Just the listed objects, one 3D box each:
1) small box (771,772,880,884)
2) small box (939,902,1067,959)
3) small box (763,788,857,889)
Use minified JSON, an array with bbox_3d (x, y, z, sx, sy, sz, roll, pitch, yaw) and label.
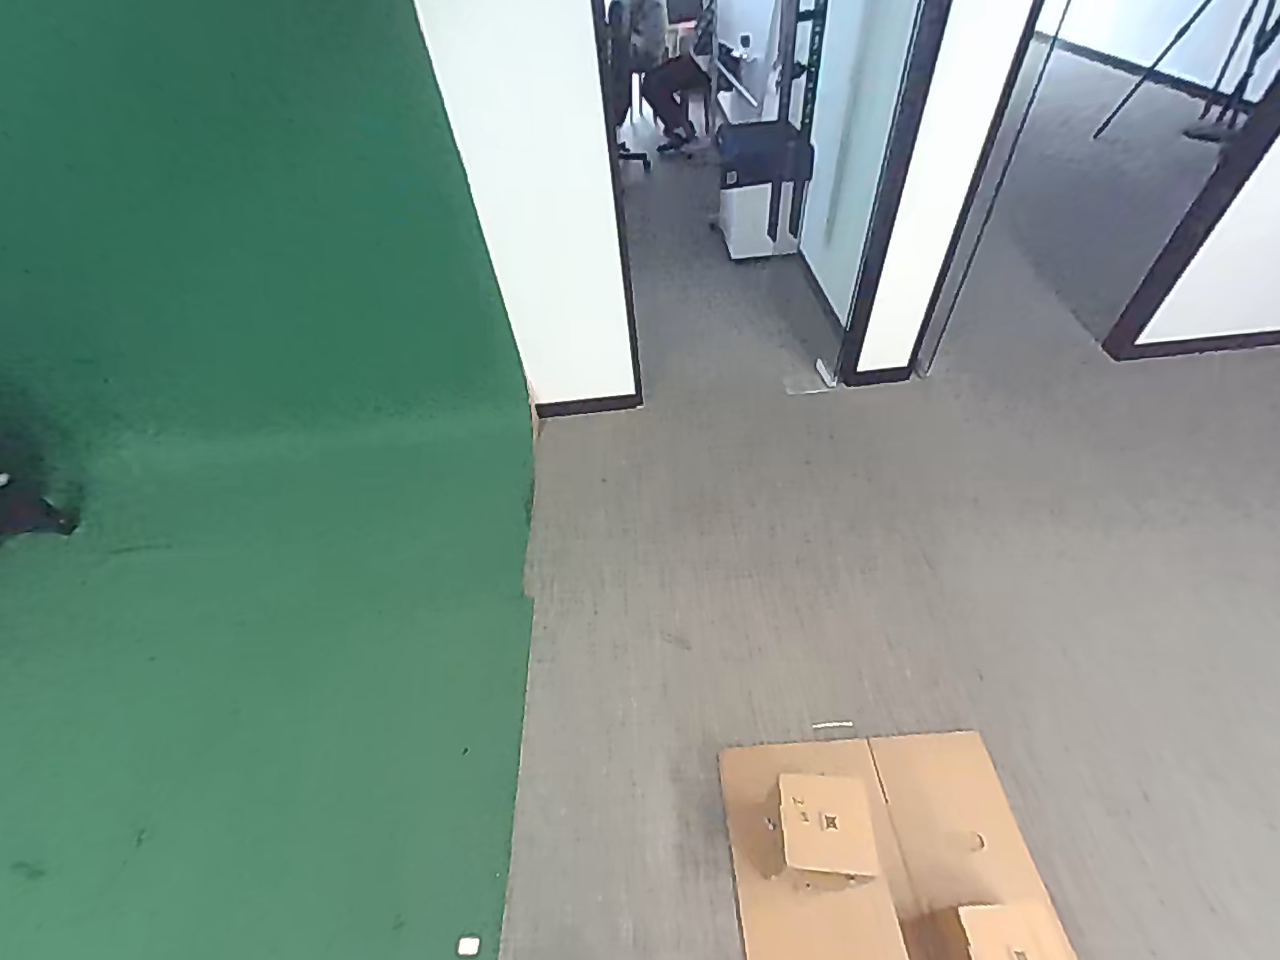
[{"bbox_3d":[0.374,0.724,1.121,0.179,0.176,0.168,1,48,7],"label":"small box"},{"bbox_3d":[0.732,0.966,1.092,0.179,0.176,0.168,-4,48,3],"label":"small box"},{"bbox_3d":[0.384,0.830,1.249,0.179,0.176,0.168,2,48,7],"label":"small box"}]
